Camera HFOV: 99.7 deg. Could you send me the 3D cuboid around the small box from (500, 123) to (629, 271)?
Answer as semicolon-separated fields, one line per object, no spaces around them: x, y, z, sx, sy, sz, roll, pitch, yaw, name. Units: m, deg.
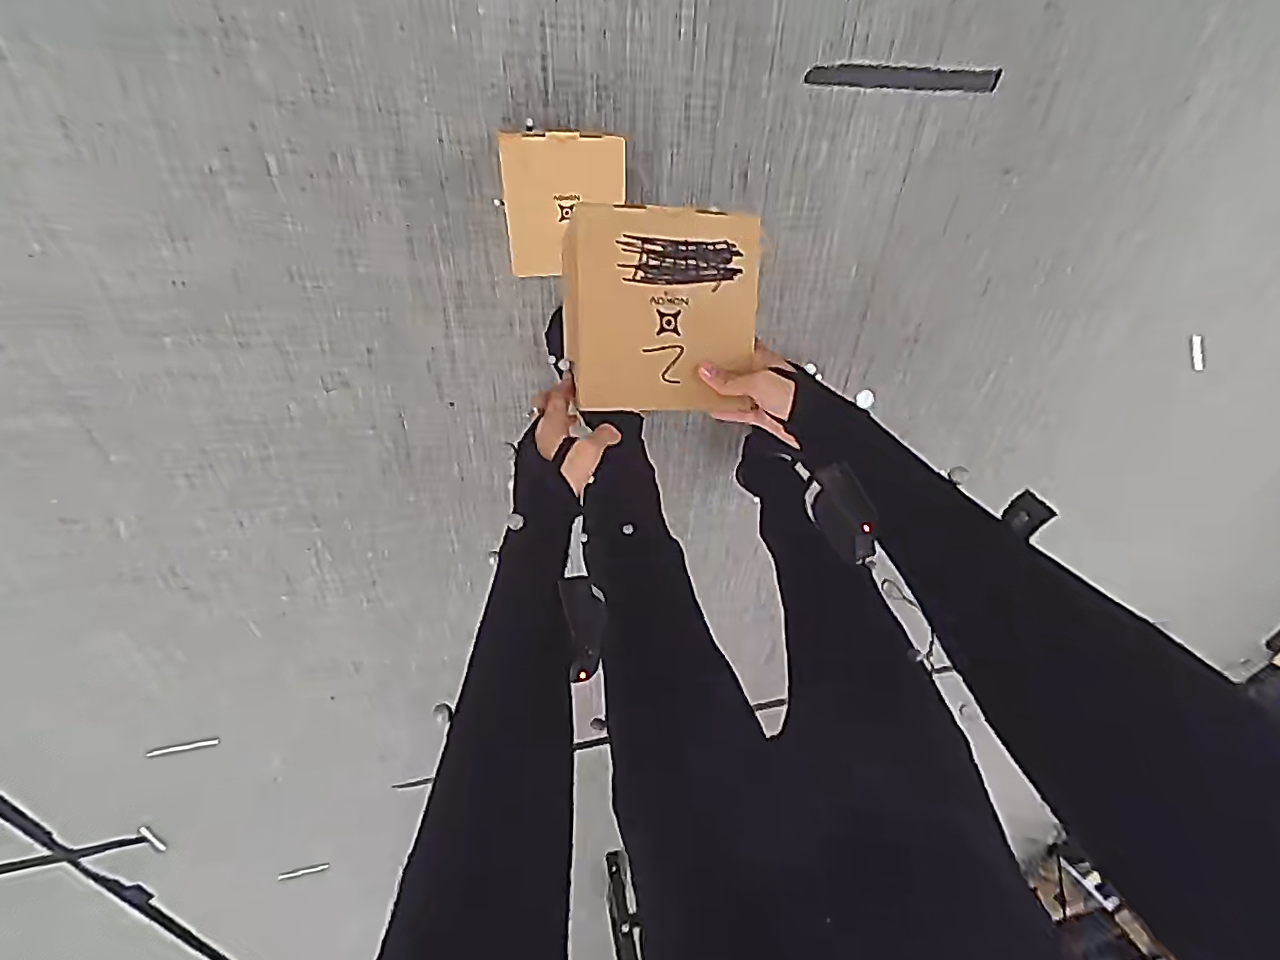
-0.114;-0.423;0.802;0.168;0.176;0.179;-6;126;-11;small box
